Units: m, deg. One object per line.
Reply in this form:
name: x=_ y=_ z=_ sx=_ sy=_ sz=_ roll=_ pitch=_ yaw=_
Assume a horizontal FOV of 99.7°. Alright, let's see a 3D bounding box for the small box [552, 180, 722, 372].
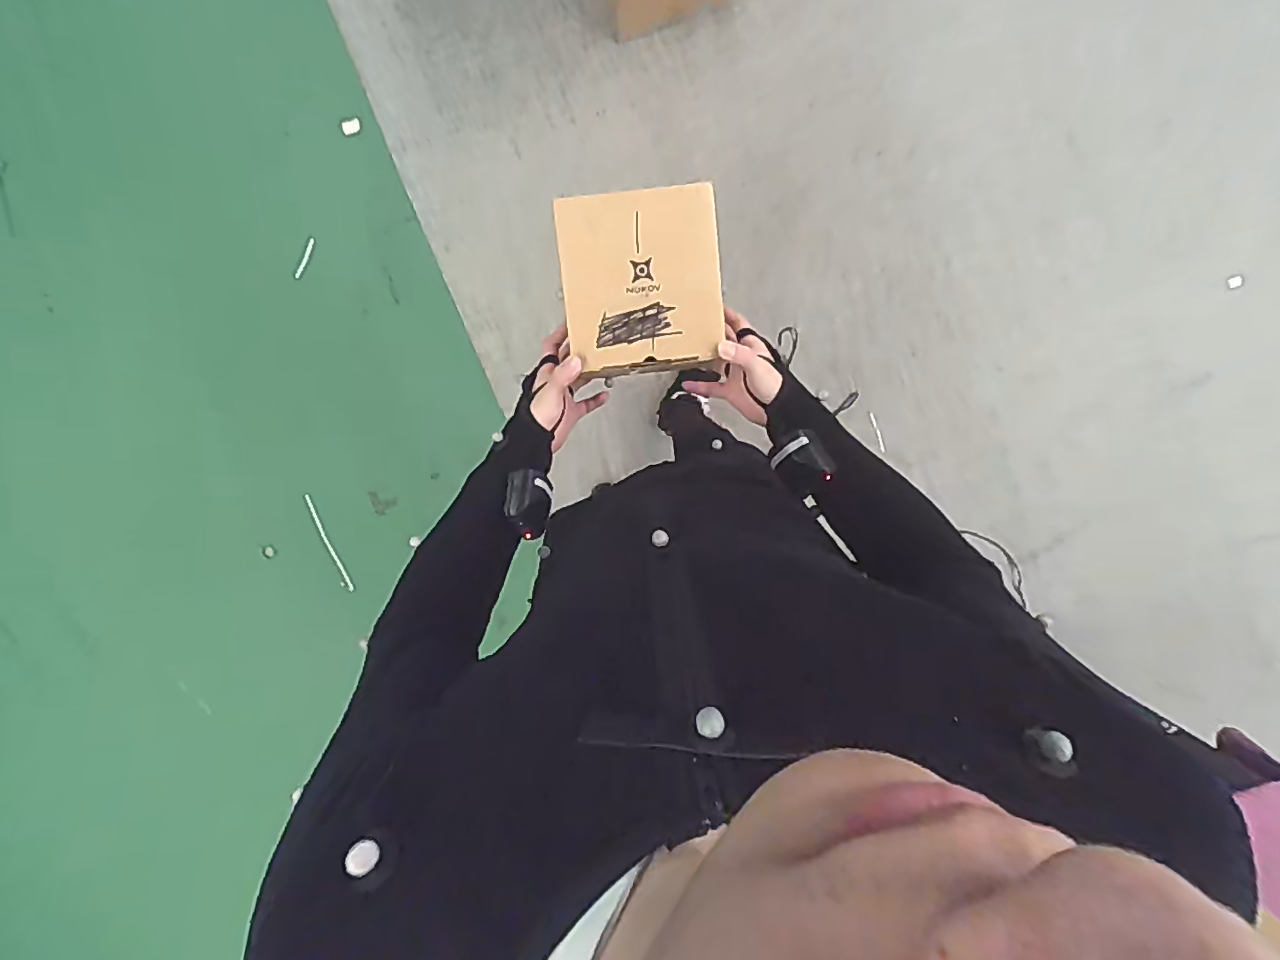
small box: x=-0.001 y=-0.222 z=0.637 sx=0.168 sy=0.176 sz=0.179 roll=-6 pitch=98 yaw=0
